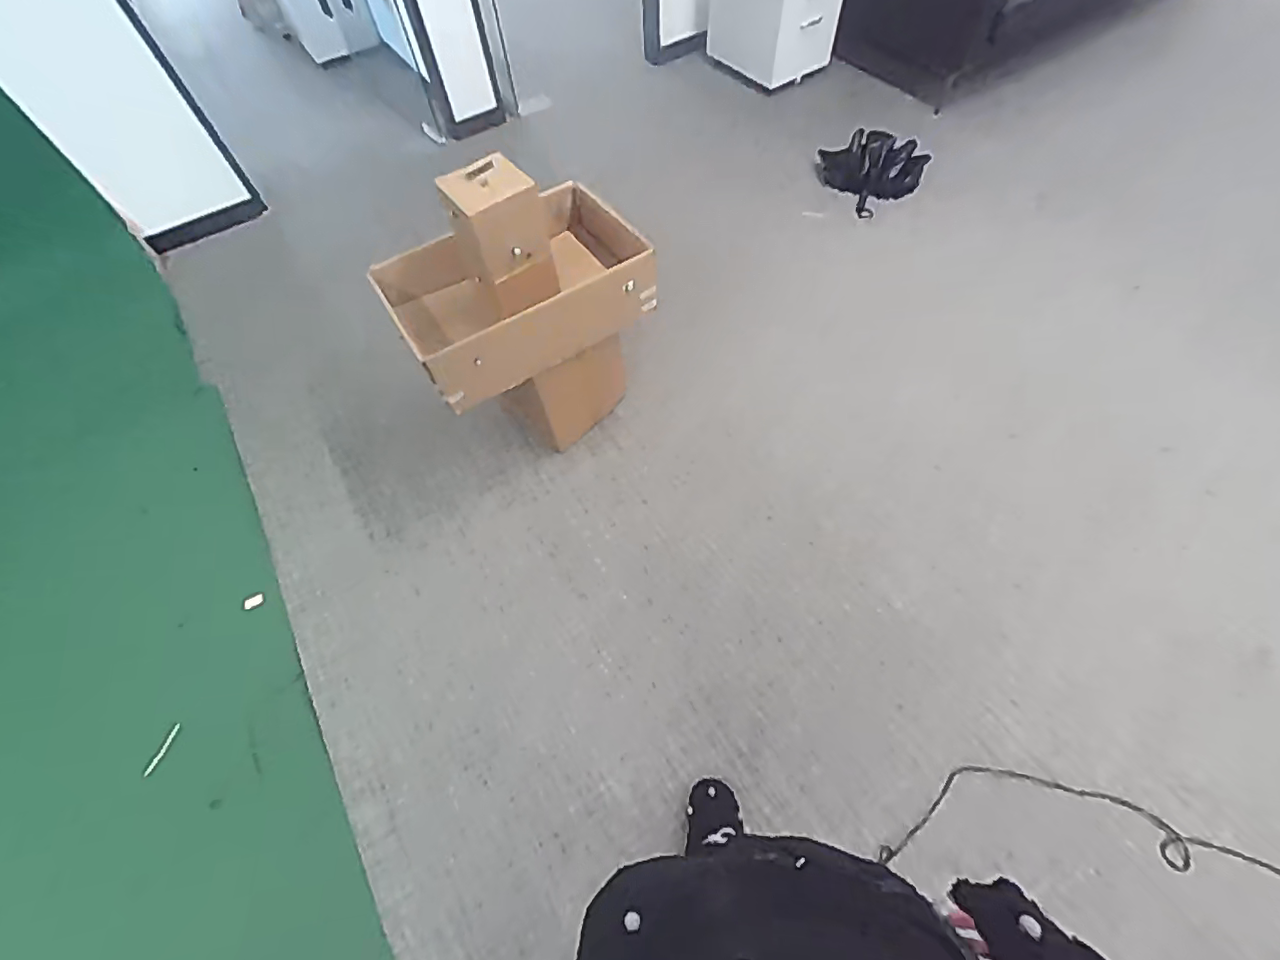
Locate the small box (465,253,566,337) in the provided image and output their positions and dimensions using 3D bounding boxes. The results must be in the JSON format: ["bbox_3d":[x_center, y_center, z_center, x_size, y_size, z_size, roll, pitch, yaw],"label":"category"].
[{"bbox_3d":[-0.310,-0.499,1.375,0.168,0.176,0.179,-36,63,-15],"label":"small box"}]

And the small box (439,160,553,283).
[{"bbox_3d":[-0.323,-0.587,1.237,0.168,0.176,0.179,-34,62,-14],"label":"small box"}]
